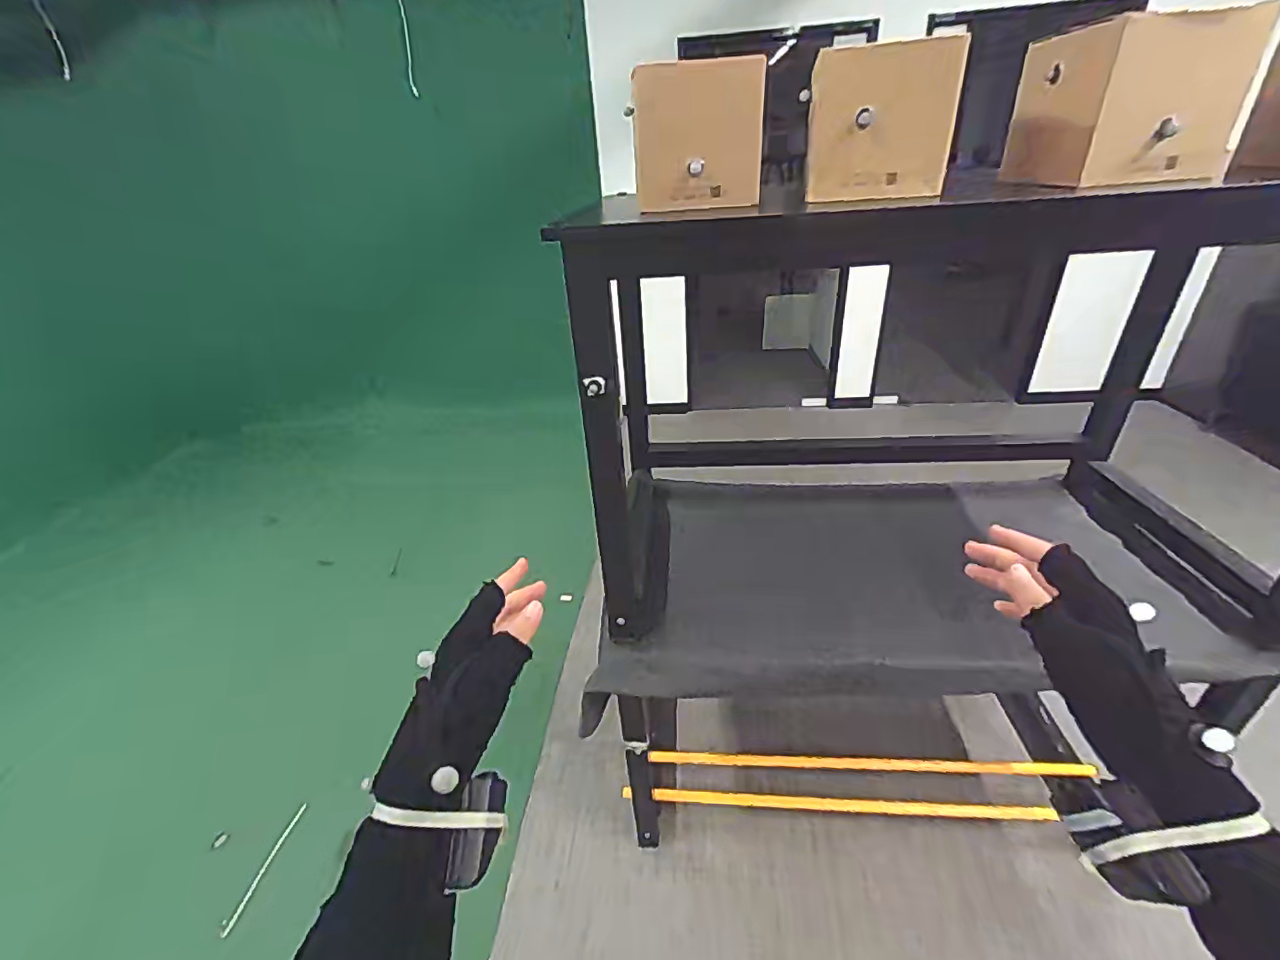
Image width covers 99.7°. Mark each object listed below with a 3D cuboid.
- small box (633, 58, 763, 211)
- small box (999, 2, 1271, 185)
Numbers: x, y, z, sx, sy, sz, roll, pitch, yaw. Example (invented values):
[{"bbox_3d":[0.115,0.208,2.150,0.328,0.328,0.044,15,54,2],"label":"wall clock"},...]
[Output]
[{"bbox_3d":[0.075,-0.489,0.782,0.168,0.176,0.179,-4,31,0],"label":"small box"},{"bbox_3d":[0.606,-0.481,0.697,0.168,0.176,0.179,-4,30,2],"label":"small box"}]
